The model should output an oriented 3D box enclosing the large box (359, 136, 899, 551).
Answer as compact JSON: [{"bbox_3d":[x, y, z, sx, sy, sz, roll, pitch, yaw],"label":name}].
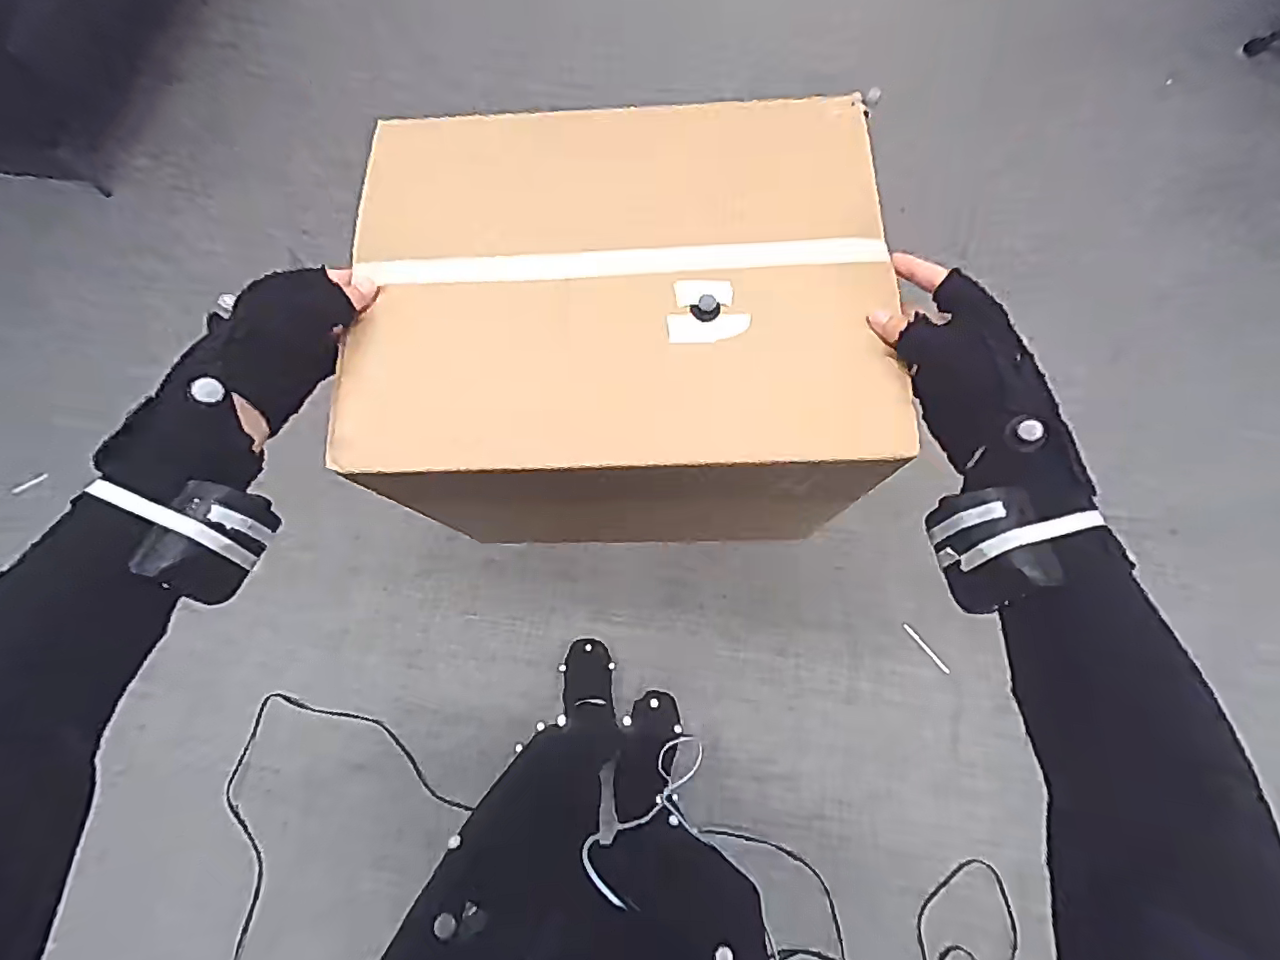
[{"bbox_3d":[-0.010,-0.108,0.578,0.408,0.320,0.320,-1,73,2],"label":"large box"}]
